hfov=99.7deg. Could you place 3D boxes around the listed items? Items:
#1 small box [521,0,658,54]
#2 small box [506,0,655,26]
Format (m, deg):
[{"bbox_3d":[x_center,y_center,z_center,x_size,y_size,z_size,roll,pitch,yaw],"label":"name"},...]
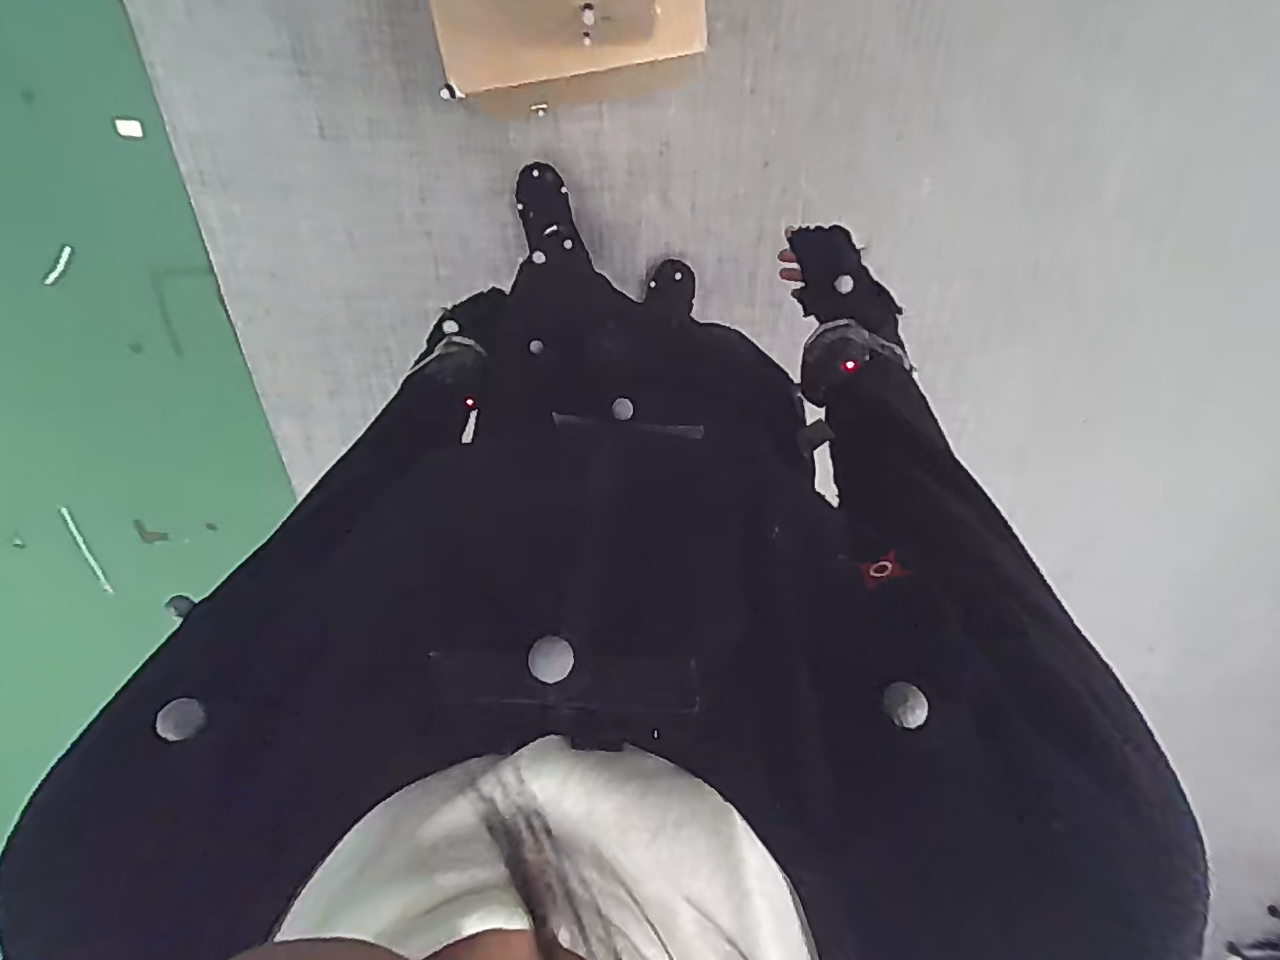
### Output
[{"bbox_3d":[-0.070,-0.692,0.721,0.179,0.176,0.168,-3,118,2],"label":"small box"},{"bbox_3d":[-0.068,-0.615,0.578,0.168,0.176,0.179,-6,119,2],"label":"small box"}]
